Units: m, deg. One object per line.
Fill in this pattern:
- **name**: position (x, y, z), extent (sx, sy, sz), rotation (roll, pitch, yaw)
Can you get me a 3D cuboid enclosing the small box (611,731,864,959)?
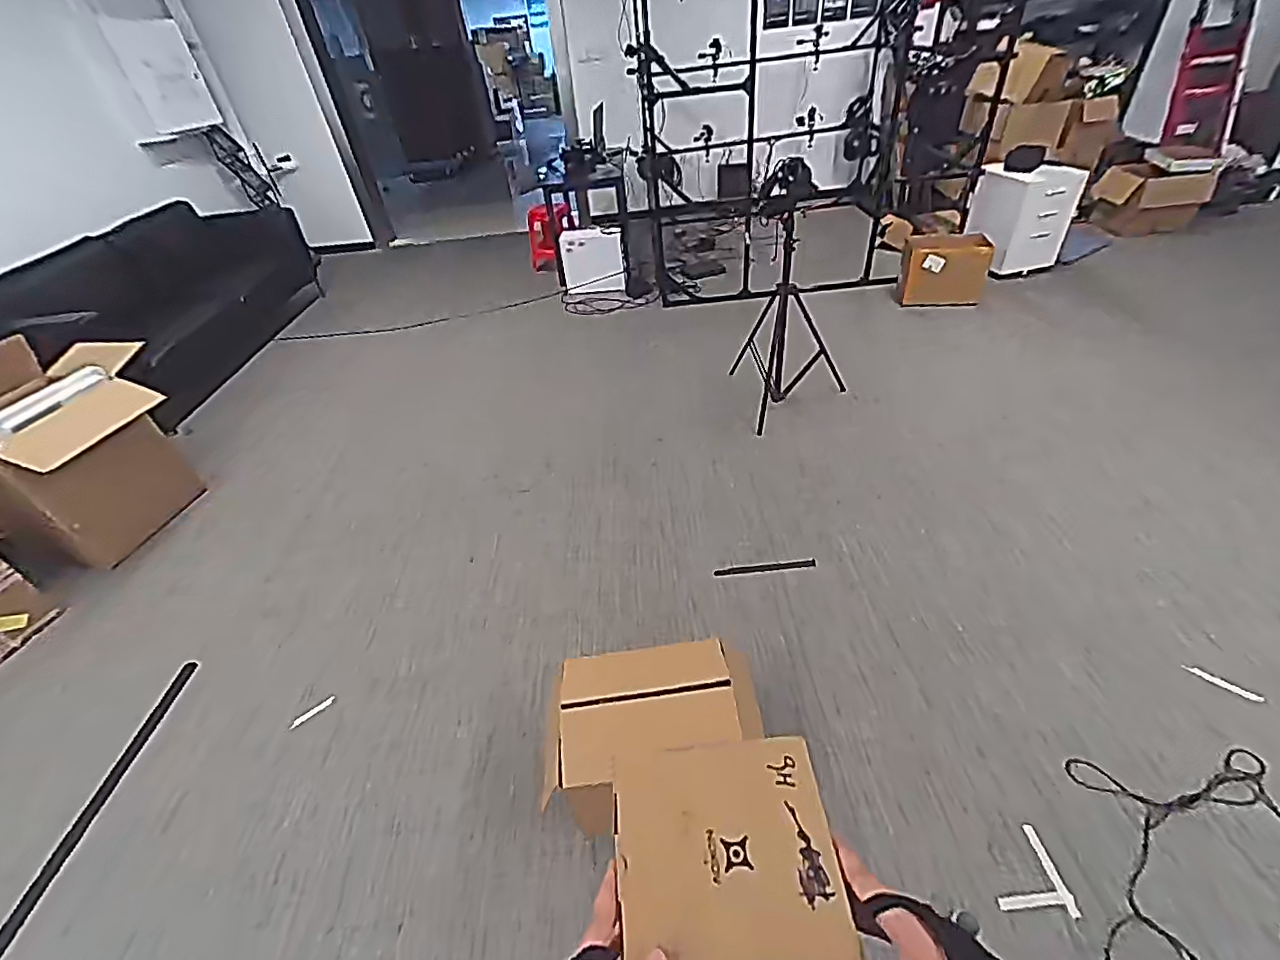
- **small box**: position (0.071, 0.346, 0.486), extent (0.179, 0.176, 0.168), rotation (-5, 47, -1)
